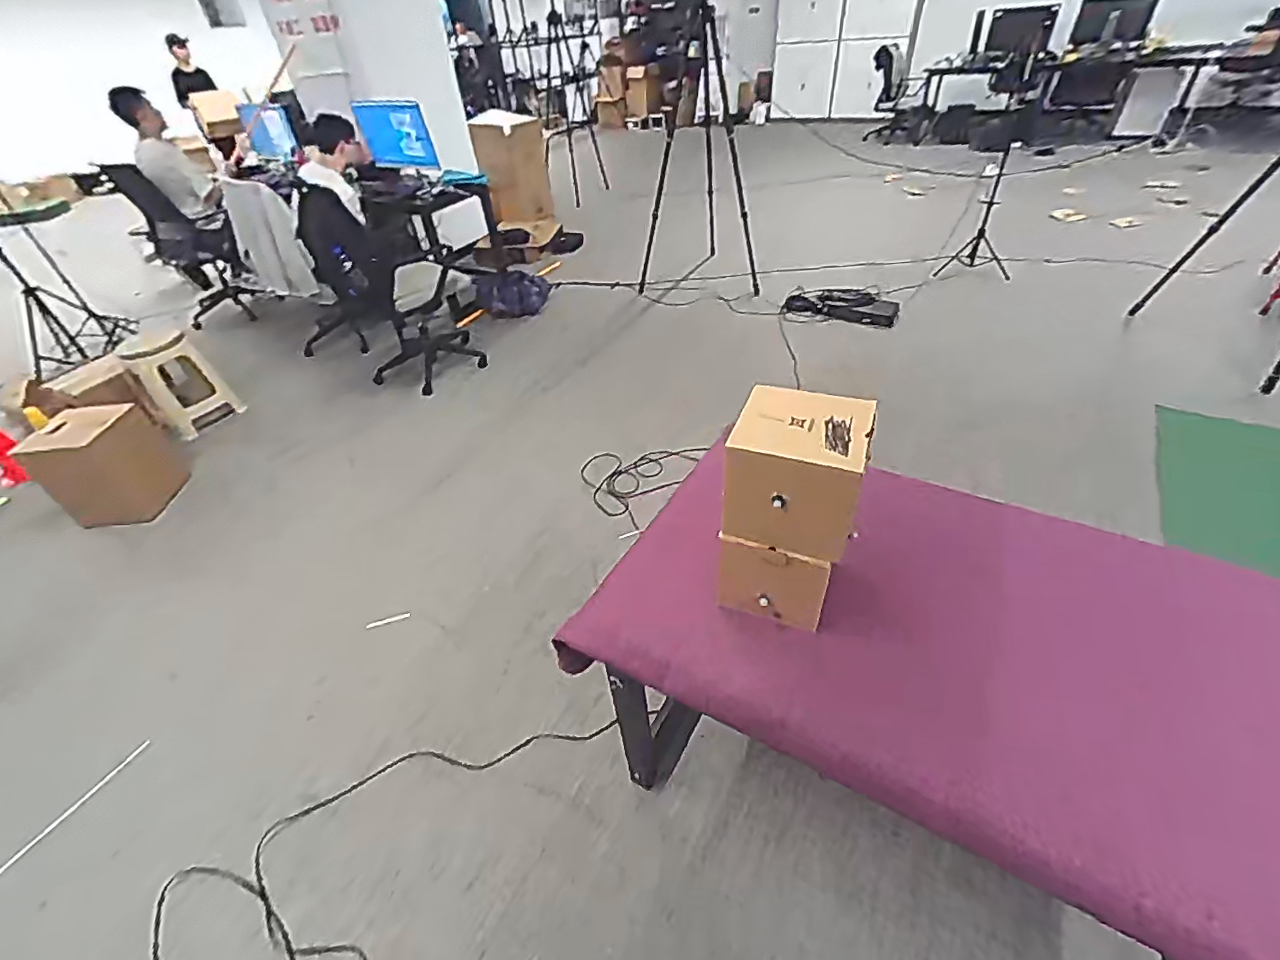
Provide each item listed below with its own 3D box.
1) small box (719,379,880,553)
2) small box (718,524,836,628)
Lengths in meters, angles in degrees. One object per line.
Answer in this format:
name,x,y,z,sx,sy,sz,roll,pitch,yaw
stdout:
small box,0.224,-0.020,0.778,0.179,0.176,0.168,15,43,23
small box,0.230,0.107,0.887,0.168,0.176,0.179,13,45,22
